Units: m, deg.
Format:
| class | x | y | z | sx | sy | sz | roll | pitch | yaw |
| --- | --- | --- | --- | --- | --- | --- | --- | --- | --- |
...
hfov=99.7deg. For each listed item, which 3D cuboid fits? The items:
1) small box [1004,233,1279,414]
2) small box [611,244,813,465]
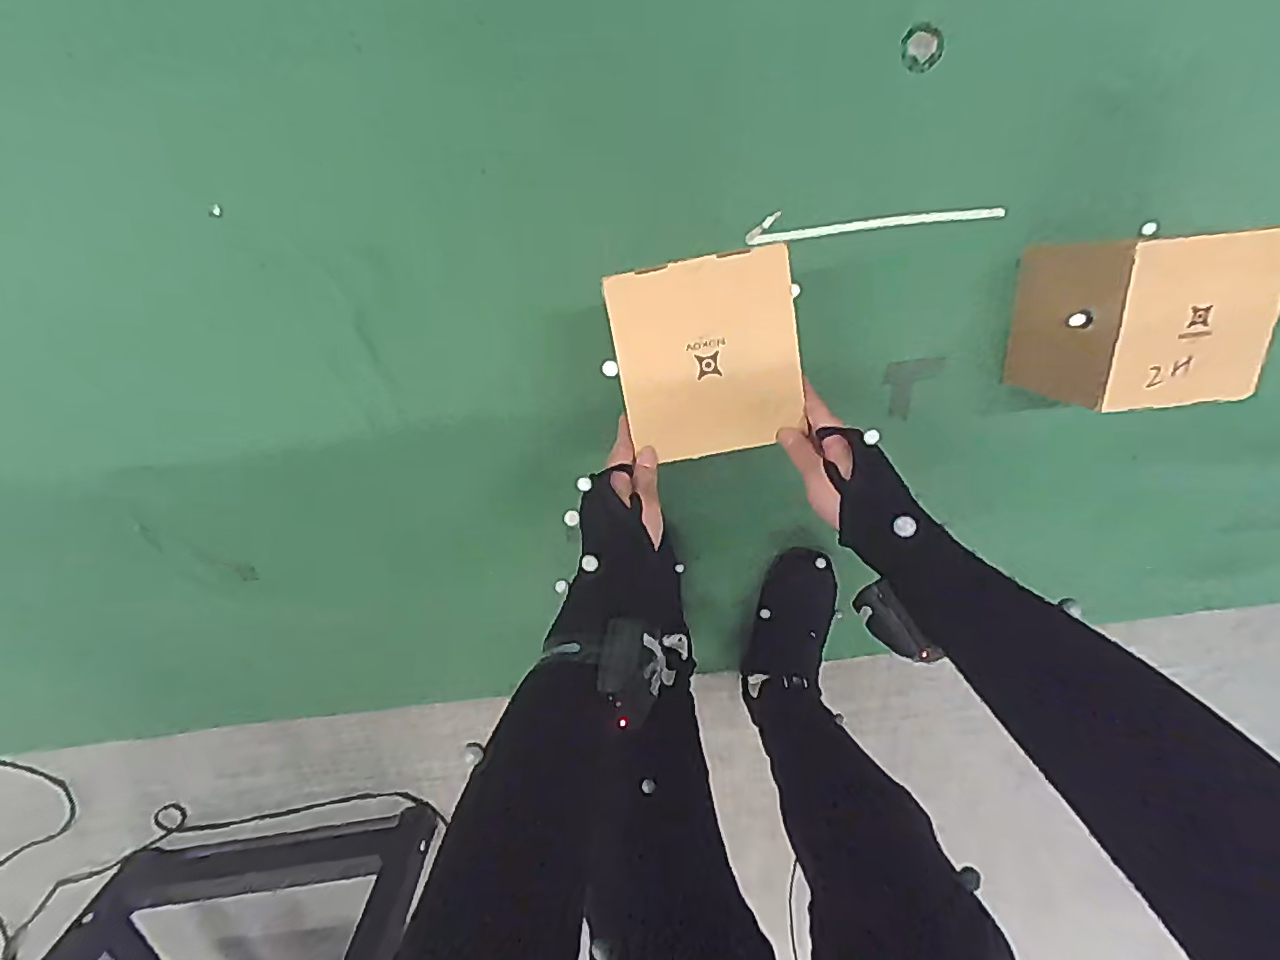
| class | x | y | z | sx | sy | sz | roll | pitch | yaw |
| --- | --- | --- | --- | --- | --- | --- | --- | --- | --- |
| small box | 0.573 | -0.187 | 0.642 | 0.168 | 0.176 | 0.179 | -5 | 111 | -1 |
| small box | 0.071 | -0.126 | 0.567 | 0.168 | 0.176 | 0.179 | -10 | 101 | 3 |
